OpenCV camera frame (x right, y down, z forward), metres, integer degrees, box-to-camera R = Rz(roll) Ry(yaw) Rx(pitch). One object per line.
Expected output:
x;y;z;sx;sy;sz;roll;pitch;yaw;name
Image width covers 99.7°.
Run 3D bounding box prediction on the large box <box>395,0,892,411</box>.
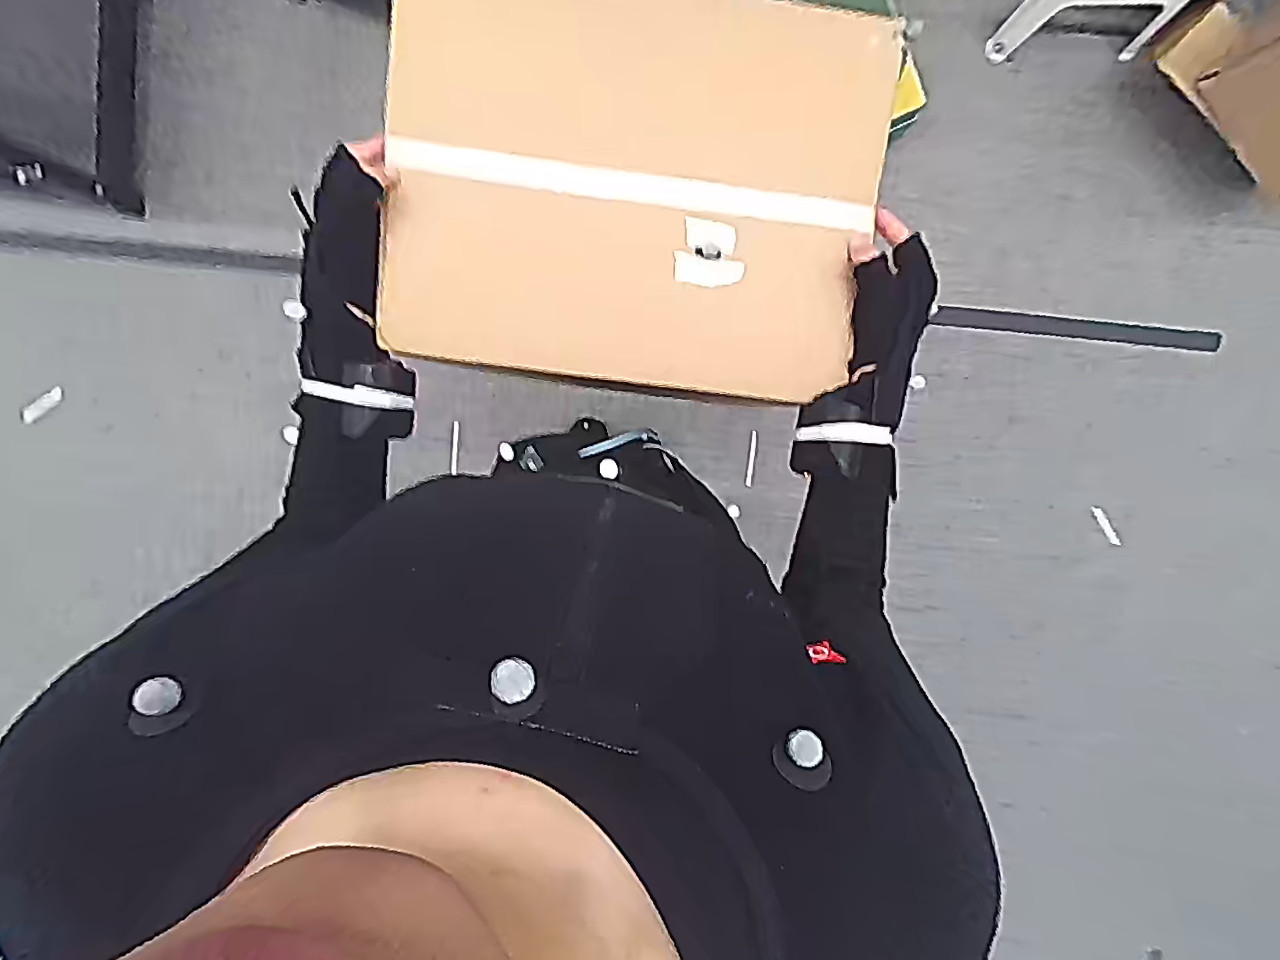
-0.009;-0.253;0.608;0.408;0.320;0.320;7;98;-4;large box
